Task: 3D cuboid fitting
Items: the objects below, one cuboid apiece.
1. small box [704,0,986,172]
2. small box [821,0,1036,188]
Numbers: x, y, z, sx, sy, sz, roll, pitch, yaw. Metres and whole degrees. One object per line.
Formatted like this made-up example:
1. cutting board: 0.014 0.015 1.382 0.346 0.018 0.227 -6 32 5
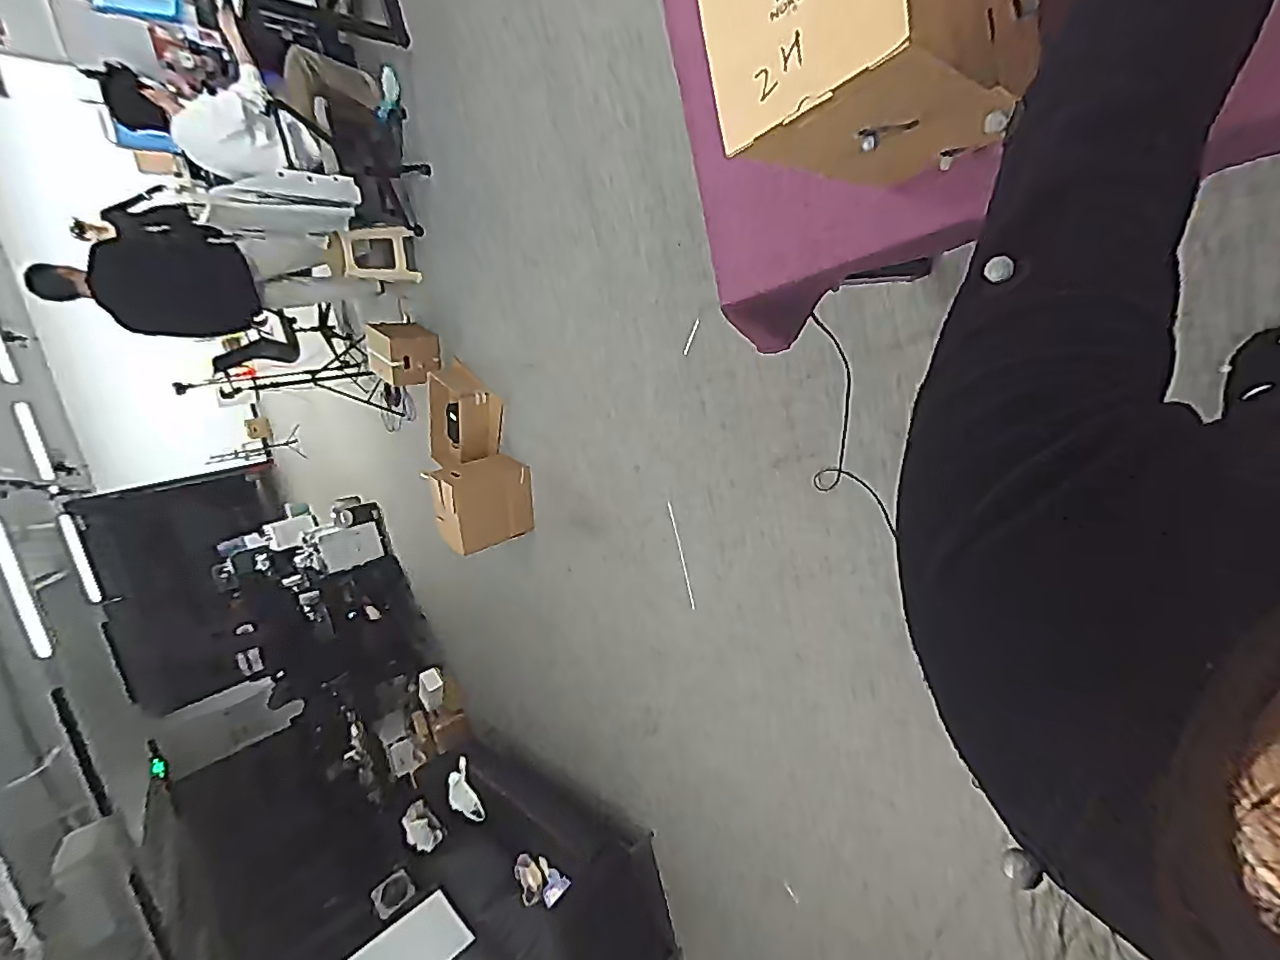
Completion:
1. small box: 0.178 -0.399 0.471 0.168 0.176 0.179 -2 104 50
2. small box: 0.299 -0.437 0.577 0.179 0.176 0.168 -5 101 49
